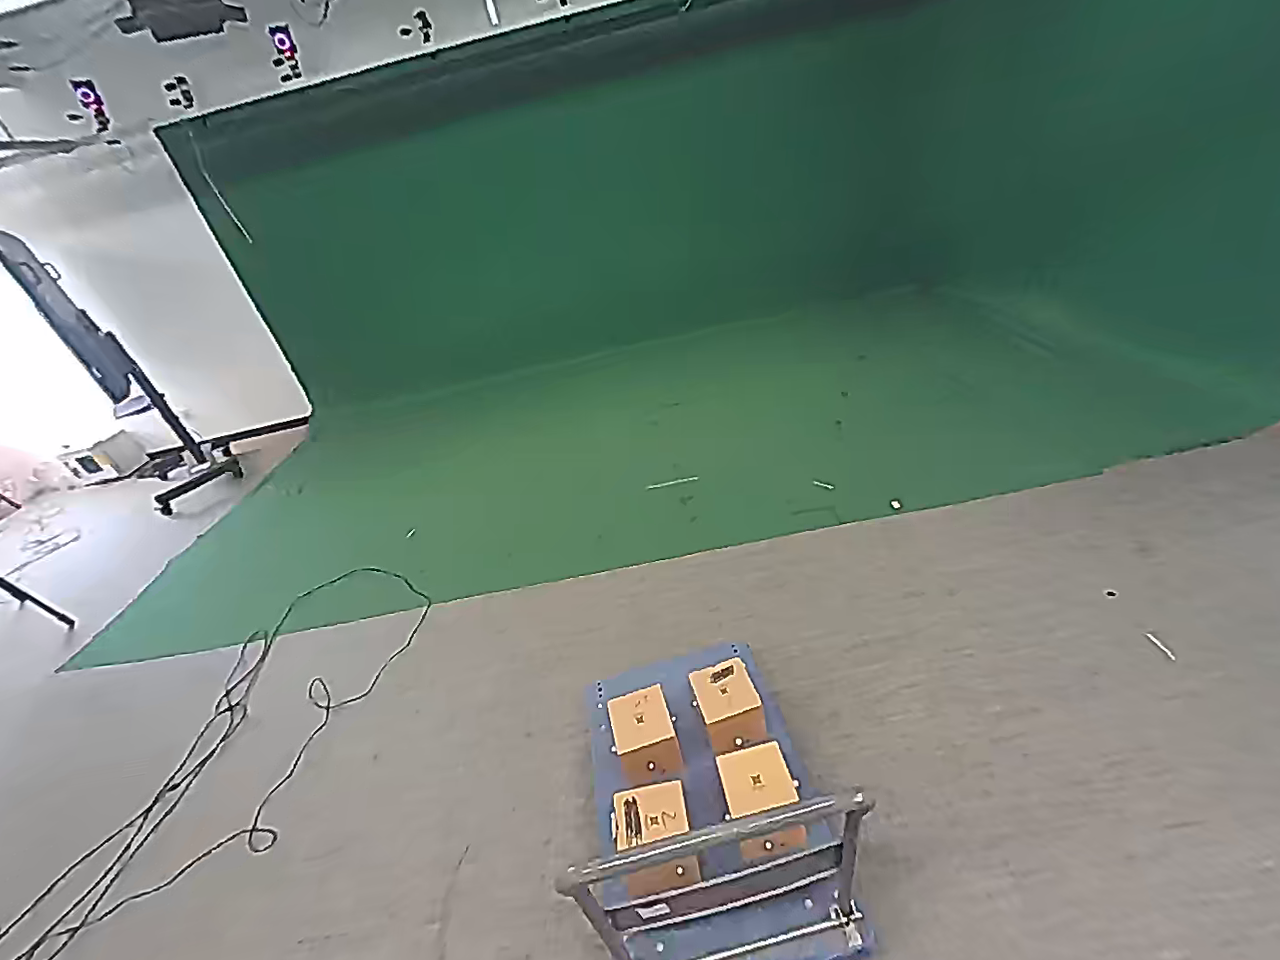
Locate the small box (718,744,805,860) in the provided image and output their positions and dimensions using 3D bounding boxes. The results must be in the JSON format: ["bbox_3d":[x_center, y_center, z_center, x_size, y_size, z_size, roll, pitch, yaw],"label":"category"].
[{"bbox_3d":[0.301,0.803,1.352,0.168,0.176,0.179,-14,33,-1],"label":"small box"}]

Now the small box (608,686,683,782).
[{"bbox_3d":[0.017,0.737,1.558,0.168,0.176,0.179,-16,32,-5],"label":"small box"}]

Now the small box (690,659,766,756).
[{"bbox_3d":[0.257,0.664,1.580,0.168,0.176,0.179,-17,33,-4],"label":"small box"}]
